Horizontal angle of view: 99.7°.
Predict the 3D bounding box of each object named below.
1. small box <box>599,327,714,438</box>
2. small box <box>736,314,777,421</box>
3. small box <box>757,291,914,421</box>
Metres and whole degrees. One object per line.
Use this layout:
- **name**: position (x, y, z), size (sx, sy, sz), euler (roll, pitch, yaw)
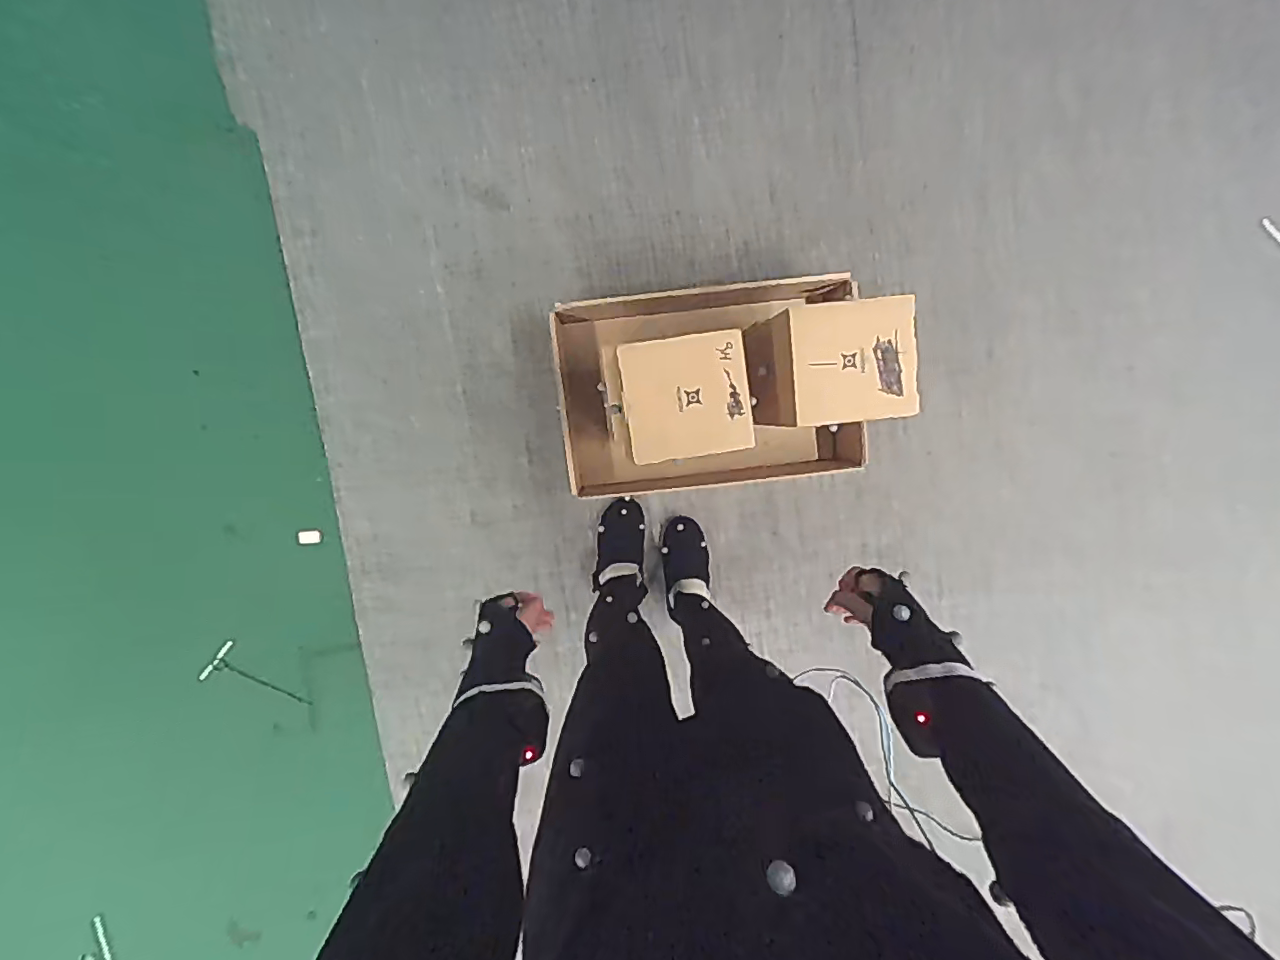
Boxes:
- **small box**: position (0.026, -0.169, 0.979), size (0.179, 0.176, 0.168), euler (-9, 97, -3)
- **small box**: position (0.277, -0.204, 0.983), size (0.168, 0.176, 0.179), euler (-6, 97, -1)
- **small box**: position (0.287, -0.181, 0.821), size (0.179, 0.176, 0.168), euler (-6, 97, 0)
